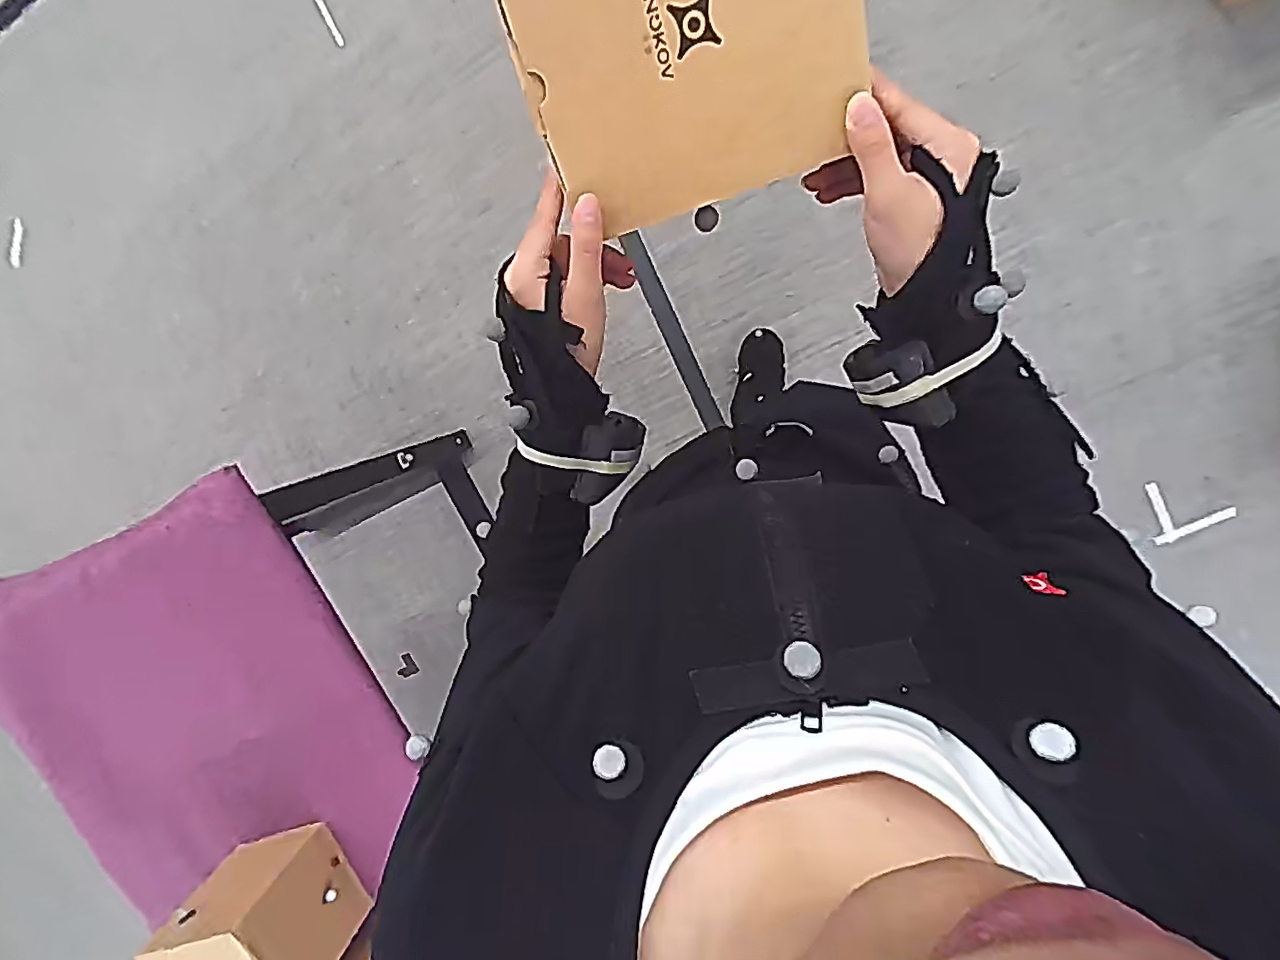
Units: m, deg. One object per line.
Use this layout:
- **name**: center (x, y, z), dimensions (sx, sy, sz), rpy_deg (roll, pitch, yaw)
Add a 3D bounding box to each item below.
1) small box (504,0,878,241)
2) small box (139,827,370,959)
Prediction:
- **small box**: center (0.026, -0.271, 0.342), dimensions (0.179, 0.176, 0.168), rpy_deg (-15, 118, 9)
- **small box**: center (-0.536, 0.647, 0.778), dimensions (0.179, 0.176, 0.168), rpy_deg (-22, 99, 11)
